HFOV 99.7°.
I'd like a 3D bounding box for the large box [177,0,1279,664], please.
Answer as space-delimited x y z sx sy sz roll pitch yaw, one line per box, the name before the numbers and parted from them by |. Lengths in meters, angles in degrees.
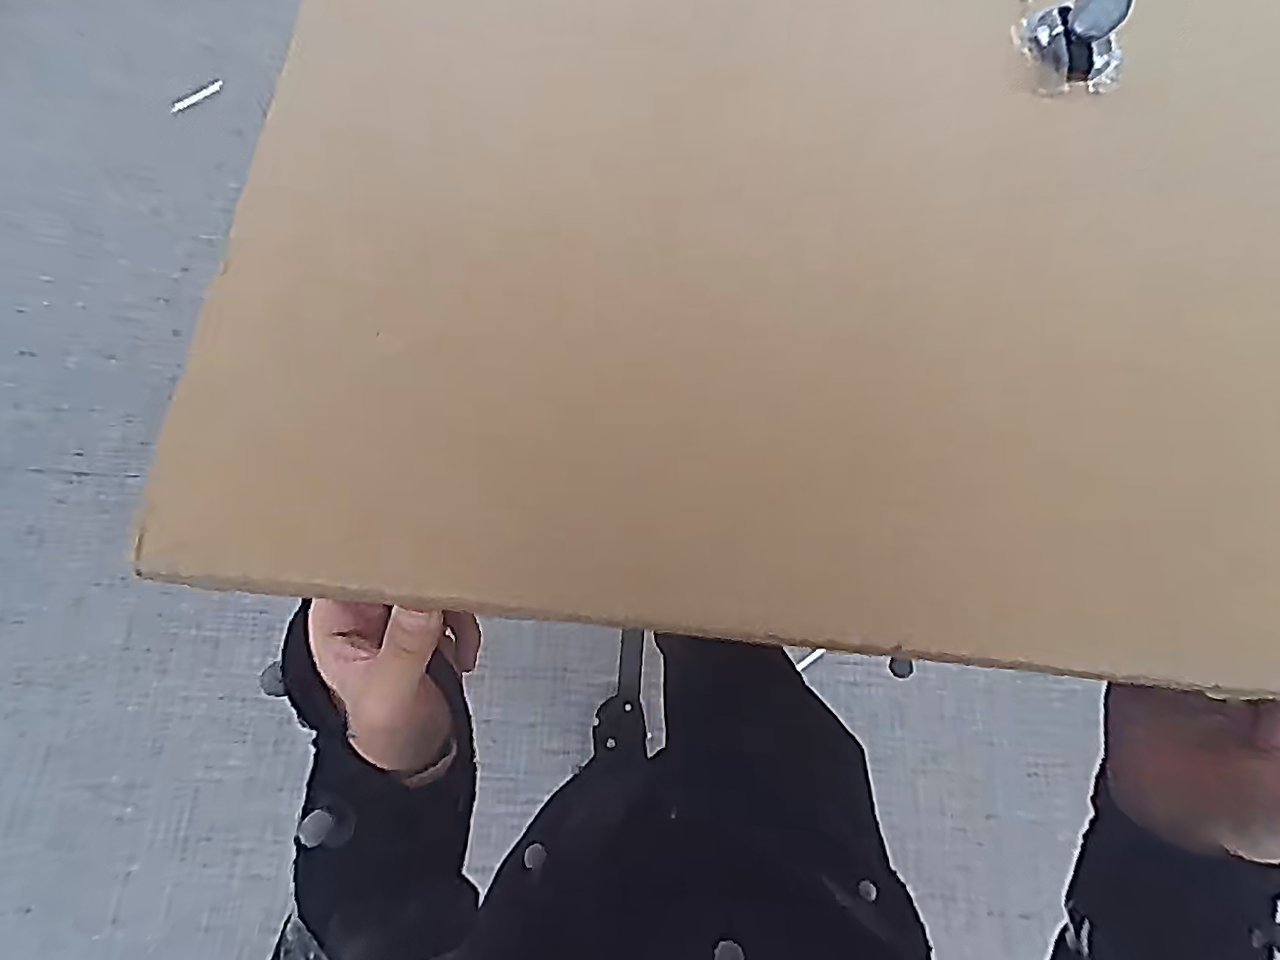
large box | 0.100 -0.087 0.296 0.408 0.320 0.320 6 78 -2
